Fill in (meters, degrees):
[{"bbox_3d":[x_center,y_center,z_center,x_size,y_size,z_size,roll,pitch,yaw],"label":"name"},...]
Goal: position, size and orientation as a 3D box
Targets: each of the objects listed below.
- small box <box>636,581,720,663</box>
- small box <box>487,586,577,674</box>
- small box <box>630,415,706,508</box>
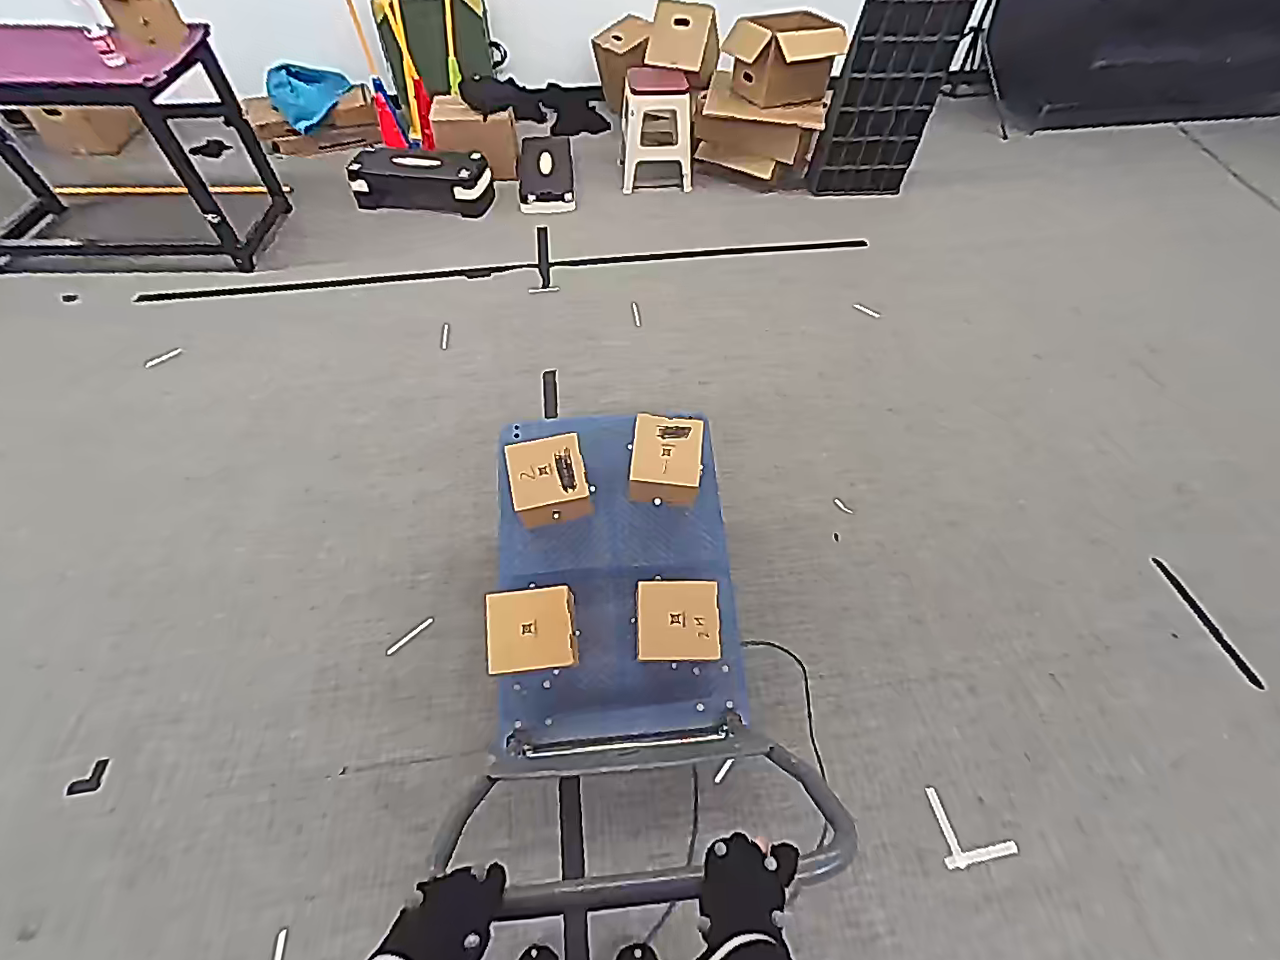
[{"bbox_3d":[0.080,0.328,1.228,0.179,0.176,0.168,1,70,-2],"label":"small box"},{"bbox_3d":[-0.237,0.340,1.210,0.179,0.176,0.168,-5,70,-6],"label":"small box"},{"bbox_3d":[0.065,-0.043,1.362,0.168,0.176,0.179,7,71,0],"label":"small box"}]
